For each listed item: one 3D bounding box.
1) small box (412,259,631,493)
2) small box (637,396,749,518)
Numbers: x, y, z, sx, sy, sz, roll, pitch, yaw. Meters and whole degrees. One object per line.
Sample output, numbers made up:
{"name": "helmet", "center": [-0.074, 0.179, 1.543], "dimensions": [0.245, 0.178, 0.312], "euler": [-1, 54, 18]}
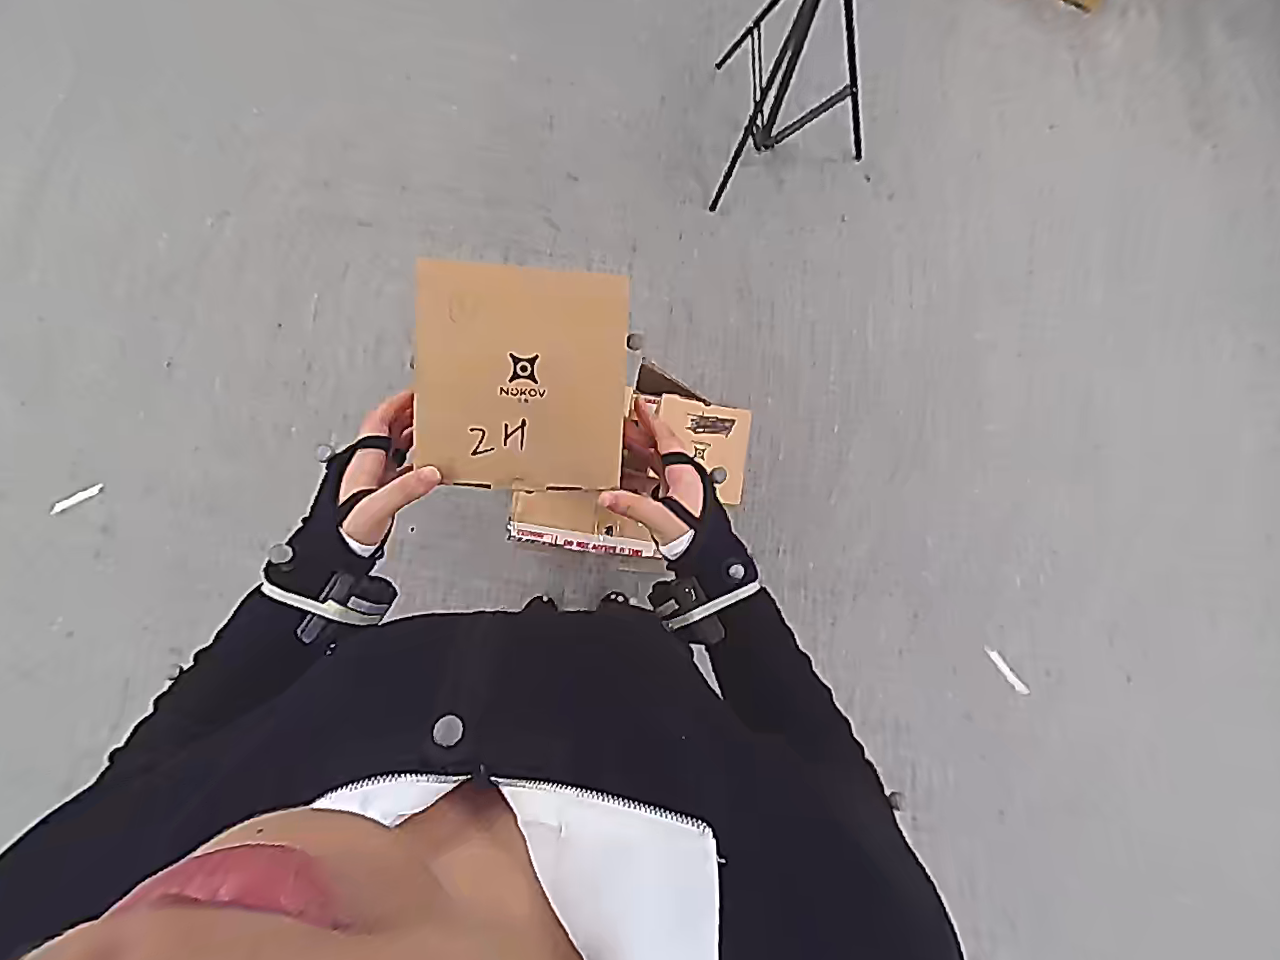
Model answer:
{"name": "small box", "center": [-0.104, -0.085, 0.508], "dimensions": [0.168, 0.176, 0.179], "euler": [3, 95, -7]}
{"name": "small box", "center": [0.093, -0.035, 1.017], "dimensions": [0.168, 0.176, 0.179], "euler": [11, 79, -4]}
